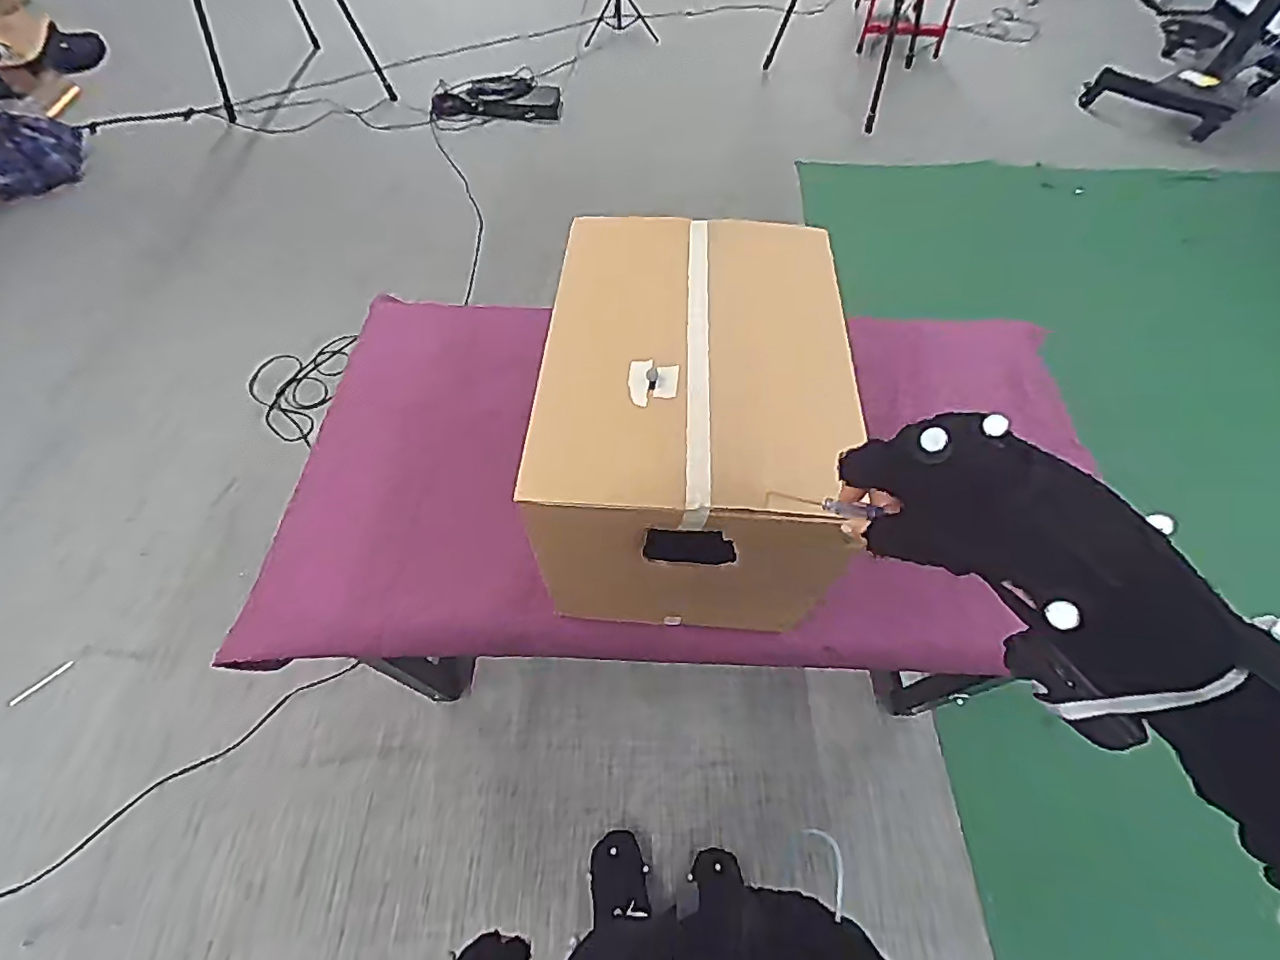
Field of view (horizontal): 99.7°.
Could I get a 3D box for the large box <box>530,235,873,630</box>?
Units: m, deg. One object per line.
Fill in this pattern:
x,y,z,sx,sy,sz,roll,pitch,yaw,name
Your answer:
0.059,-0.053,0.705,0.320,0.320,0.408,3,59,1,large box
